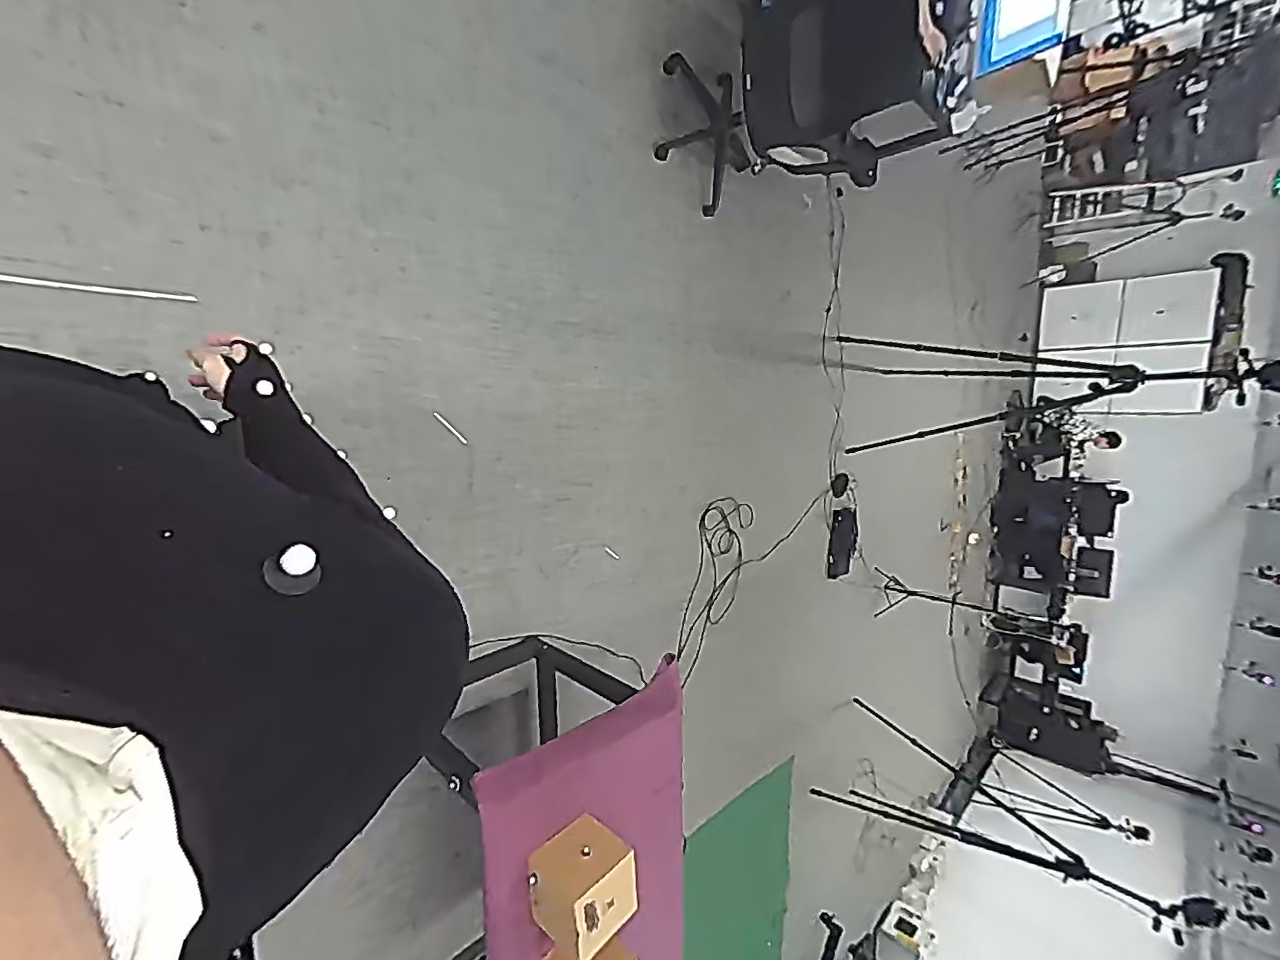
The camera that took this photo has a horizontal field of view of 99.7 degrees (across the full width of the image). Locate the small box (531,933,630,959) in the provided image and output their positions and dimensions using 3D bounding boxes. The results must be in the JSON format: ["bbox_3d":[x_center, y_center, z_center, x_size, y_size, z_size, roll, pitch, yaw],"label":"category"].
[{"bbox_3d":[-0.143,1.185,1.266,0.179,0.176,0.168,-7,100,-44],"label":"small box"}]

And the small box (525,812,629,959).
[{"bbox_3d":[-0.147,0.902,1.217,0.179,0.176,0.168,-13,105,-45],"label":"small box"}]
